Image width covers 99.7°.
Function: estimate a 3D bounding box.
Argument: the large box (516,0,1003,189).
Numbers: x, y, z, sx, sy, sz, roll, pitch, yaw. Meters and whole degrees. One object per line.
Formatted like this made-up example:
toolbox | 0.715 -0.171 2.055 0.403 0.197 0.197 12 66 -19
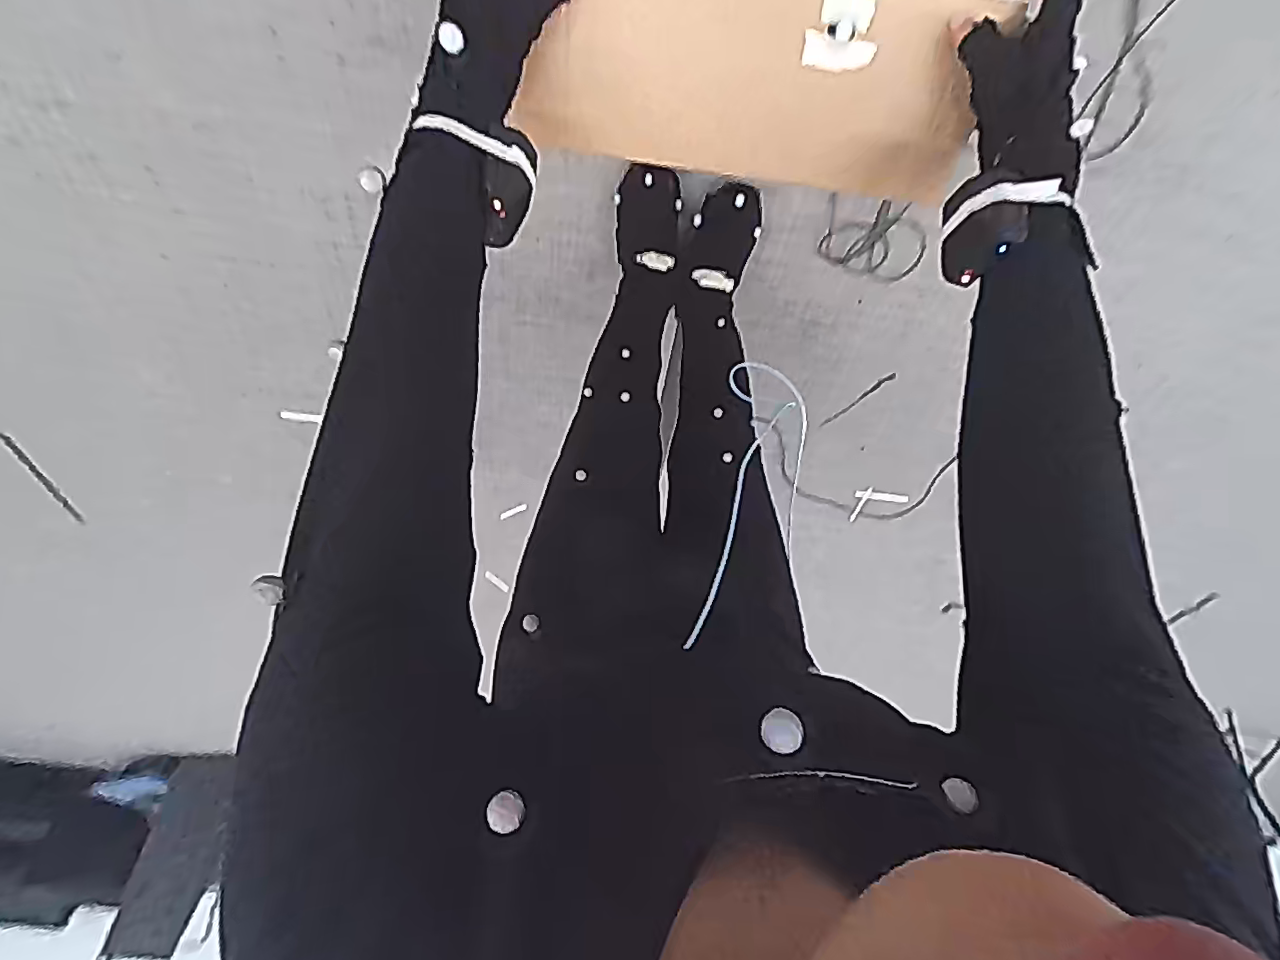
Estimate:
large box | 0.102 -0.513 0.535 0.408 0.320 0.320 6 130 -4
